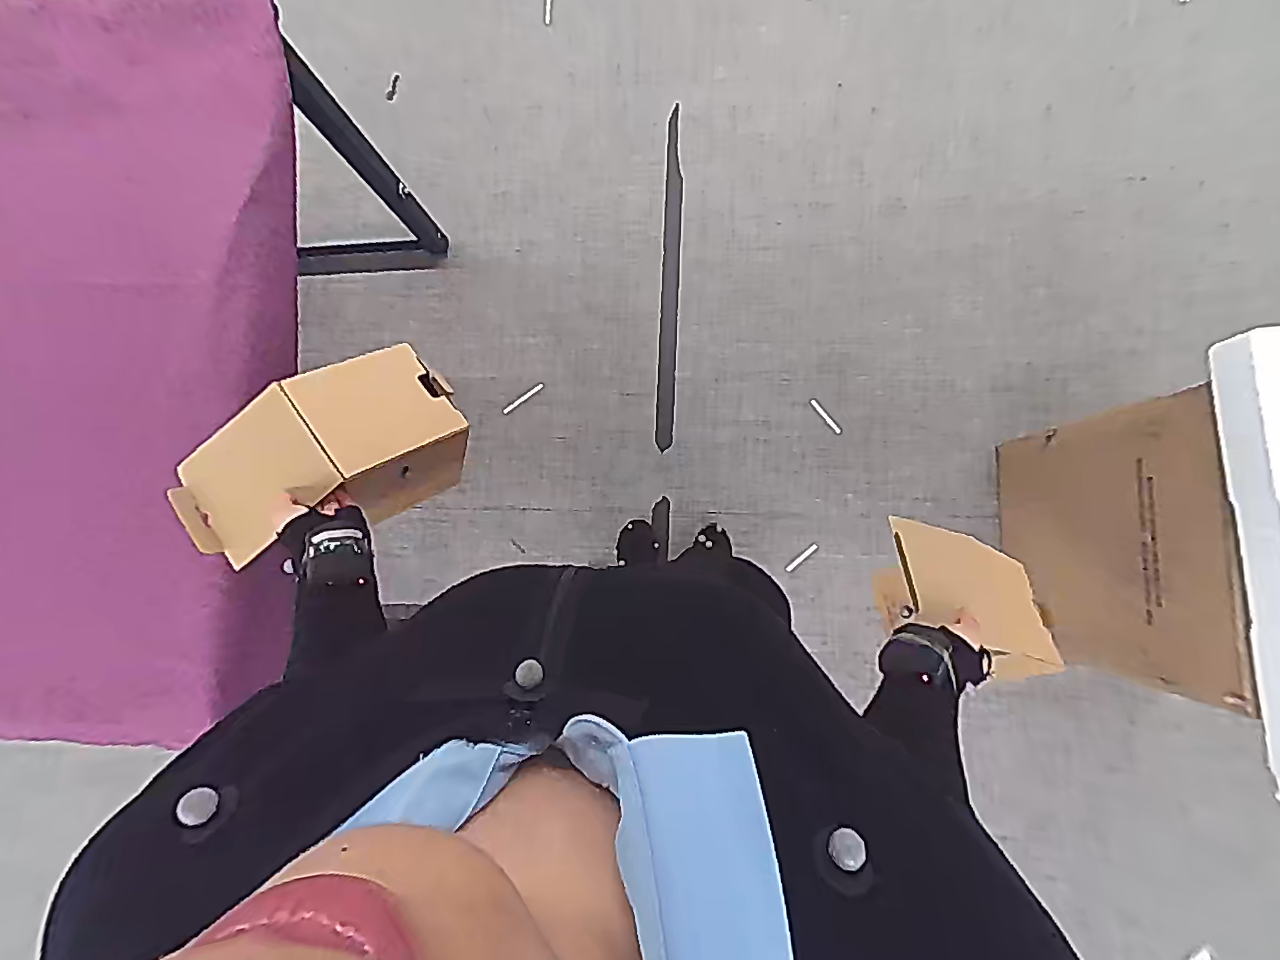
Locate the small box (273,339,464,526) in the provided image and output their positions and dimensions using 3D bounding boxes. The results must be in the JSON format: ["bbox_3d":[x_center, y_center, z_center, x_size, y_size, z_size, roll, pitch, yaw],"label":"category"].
[{"bbox_3d":[-0.371,-0.062,0.763,0.179,0.176,0.168,-31,78,-34],"label":"small box"}]
